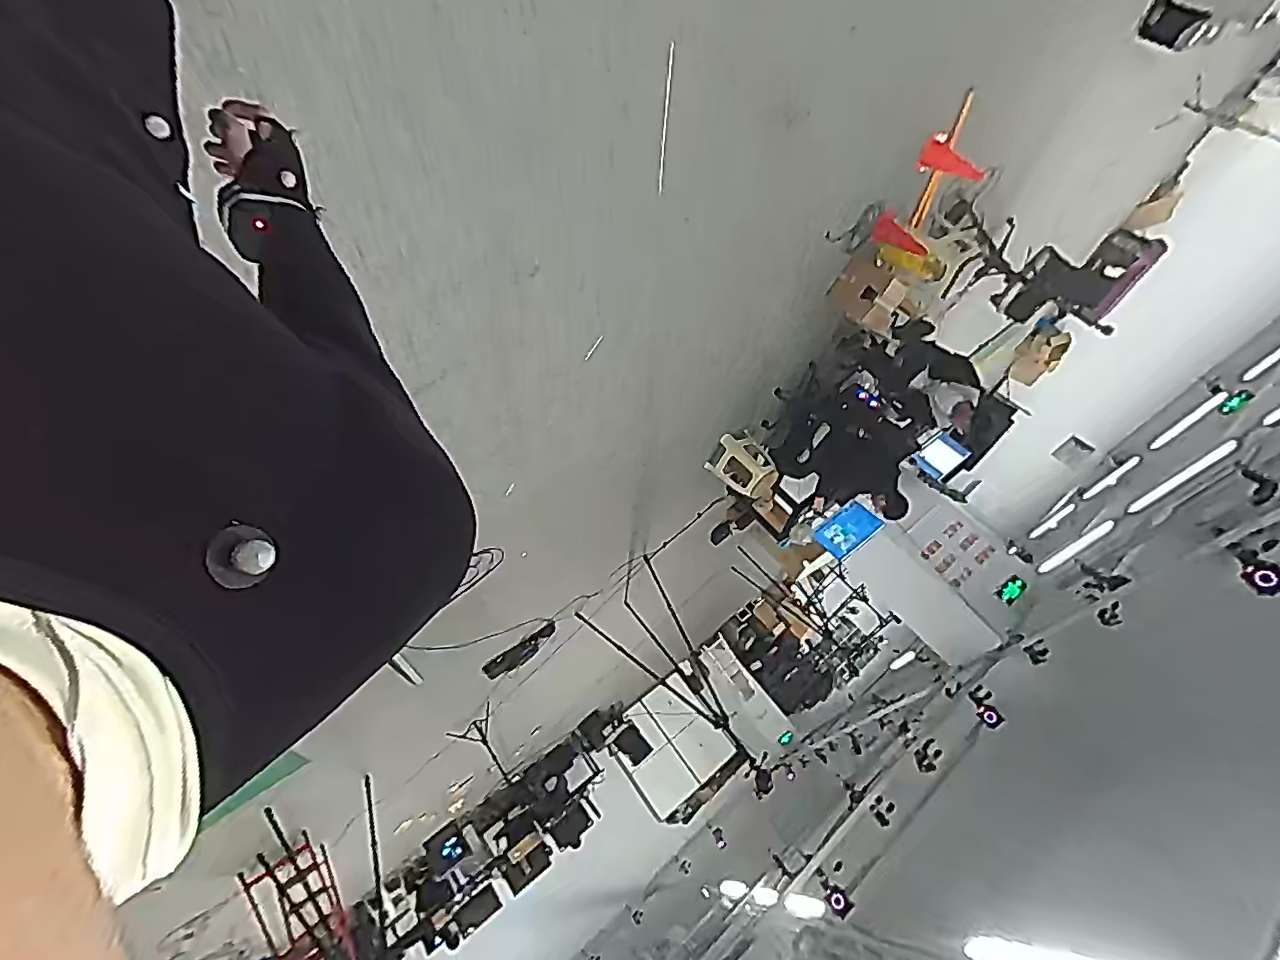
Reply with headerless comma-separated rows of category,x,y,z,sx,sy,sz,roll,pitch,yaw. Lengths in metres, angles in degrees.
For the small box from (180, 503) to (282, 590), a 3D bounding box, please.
small box,-1.233,0.194,1.631,0.168,0.176,0.179,-32,153,-22
